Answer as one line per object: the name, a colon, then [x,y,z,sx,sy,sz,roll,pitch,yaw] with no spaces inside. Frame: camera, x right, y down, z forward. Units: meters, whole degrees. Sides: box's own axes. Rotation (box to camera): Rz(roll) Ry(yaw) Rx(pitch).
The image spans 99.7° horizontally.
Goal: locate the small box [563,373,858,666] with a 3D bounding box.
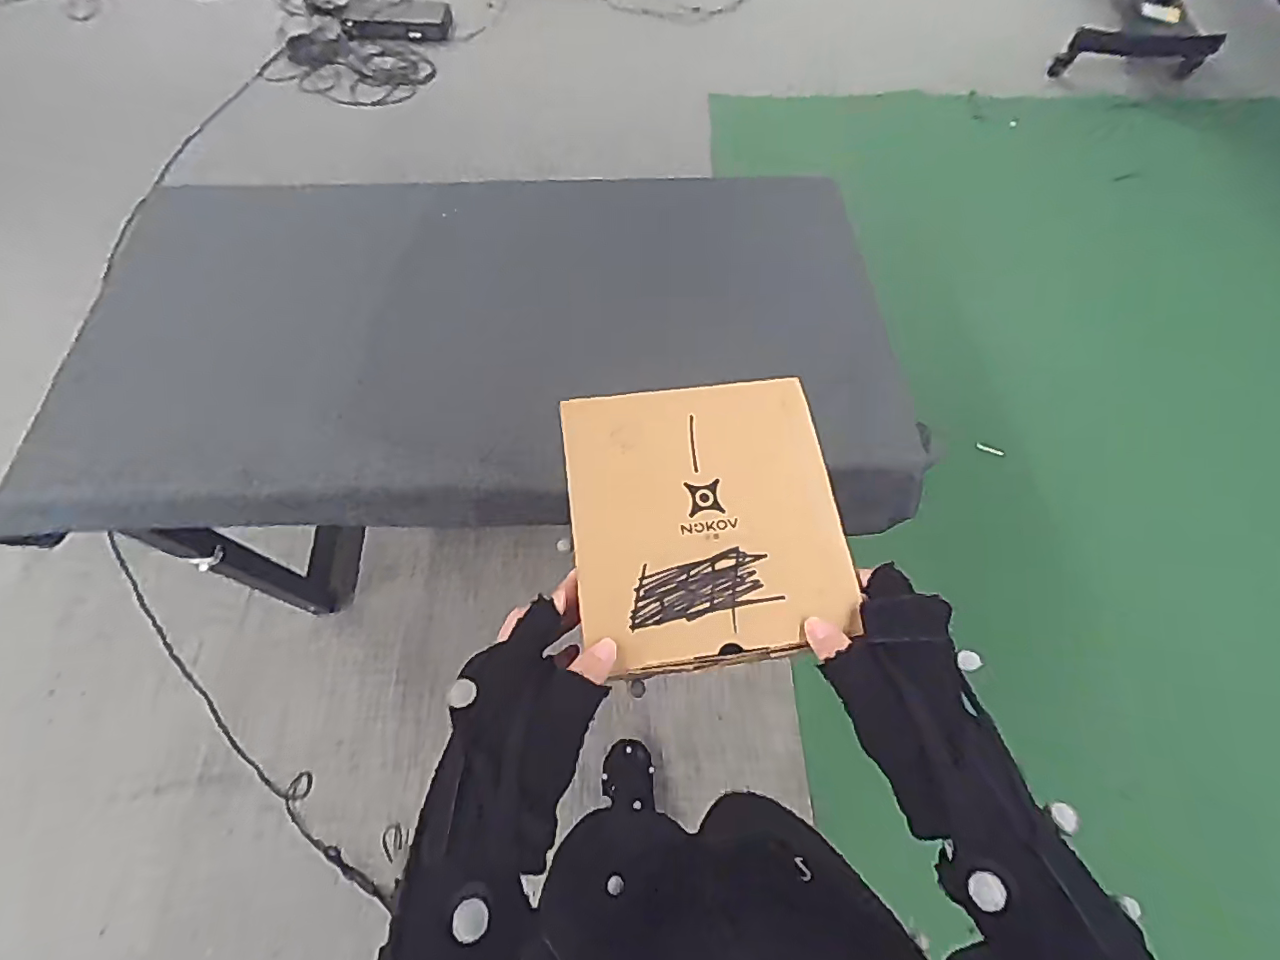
small box: [0.036,0.043,0.414,0.168,0.176,0.179,-6,68,-5]
